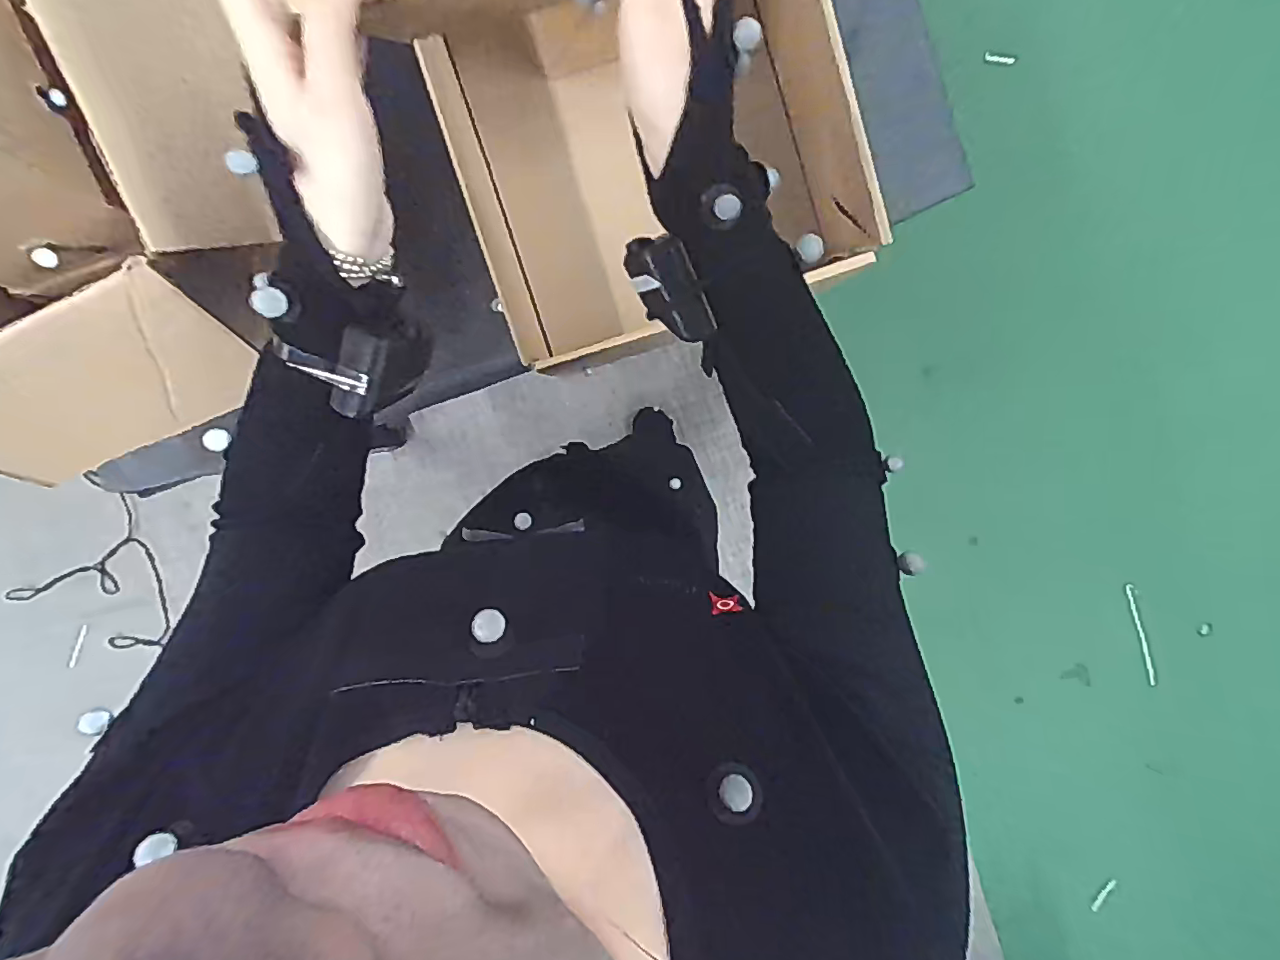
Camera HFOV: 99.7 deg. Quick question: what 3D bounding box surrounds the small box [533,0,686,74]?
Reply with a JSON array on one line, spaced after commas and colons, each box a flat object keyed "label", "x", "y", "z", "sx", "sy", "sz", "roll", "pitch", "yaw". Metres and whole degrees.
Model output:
[{"label": "small box", "x": -0.050, "y": -0.574, "z": 0.564, "sx": 0.179, "sy": 0.176, "sz": 0.168, "roll": -17, "pitch": 98, "yaw": 3}]

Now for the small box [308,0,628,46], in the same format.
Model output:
[{"label": "small box", "x": -0.085, "y": -0.339, "z": 0.269, "sx": 0.179, "sy": 0.176, "sz": 0.168, "roll": -11, "pitch": 126, "yaw": 3}]
